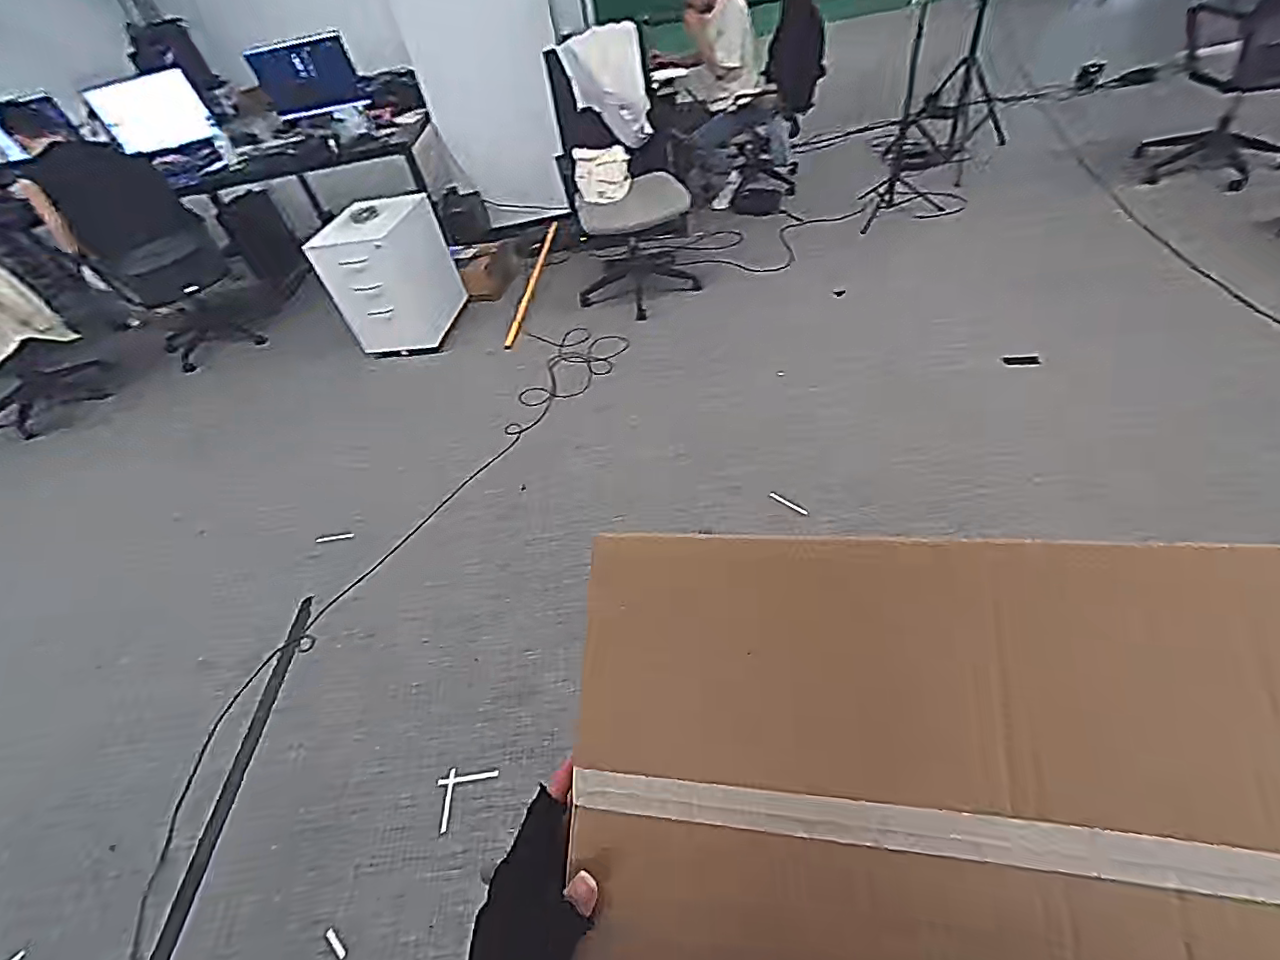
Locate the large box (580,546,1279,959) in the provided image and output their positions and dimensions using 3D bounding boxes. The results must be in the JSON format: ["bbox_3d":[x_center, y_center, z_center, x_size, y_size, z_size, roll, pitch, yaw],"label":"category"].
[{"bbox_3d":[0.195,0.234,0.432,0.408,0.320,0.320,-1,74,14],"label":"large box"}]
